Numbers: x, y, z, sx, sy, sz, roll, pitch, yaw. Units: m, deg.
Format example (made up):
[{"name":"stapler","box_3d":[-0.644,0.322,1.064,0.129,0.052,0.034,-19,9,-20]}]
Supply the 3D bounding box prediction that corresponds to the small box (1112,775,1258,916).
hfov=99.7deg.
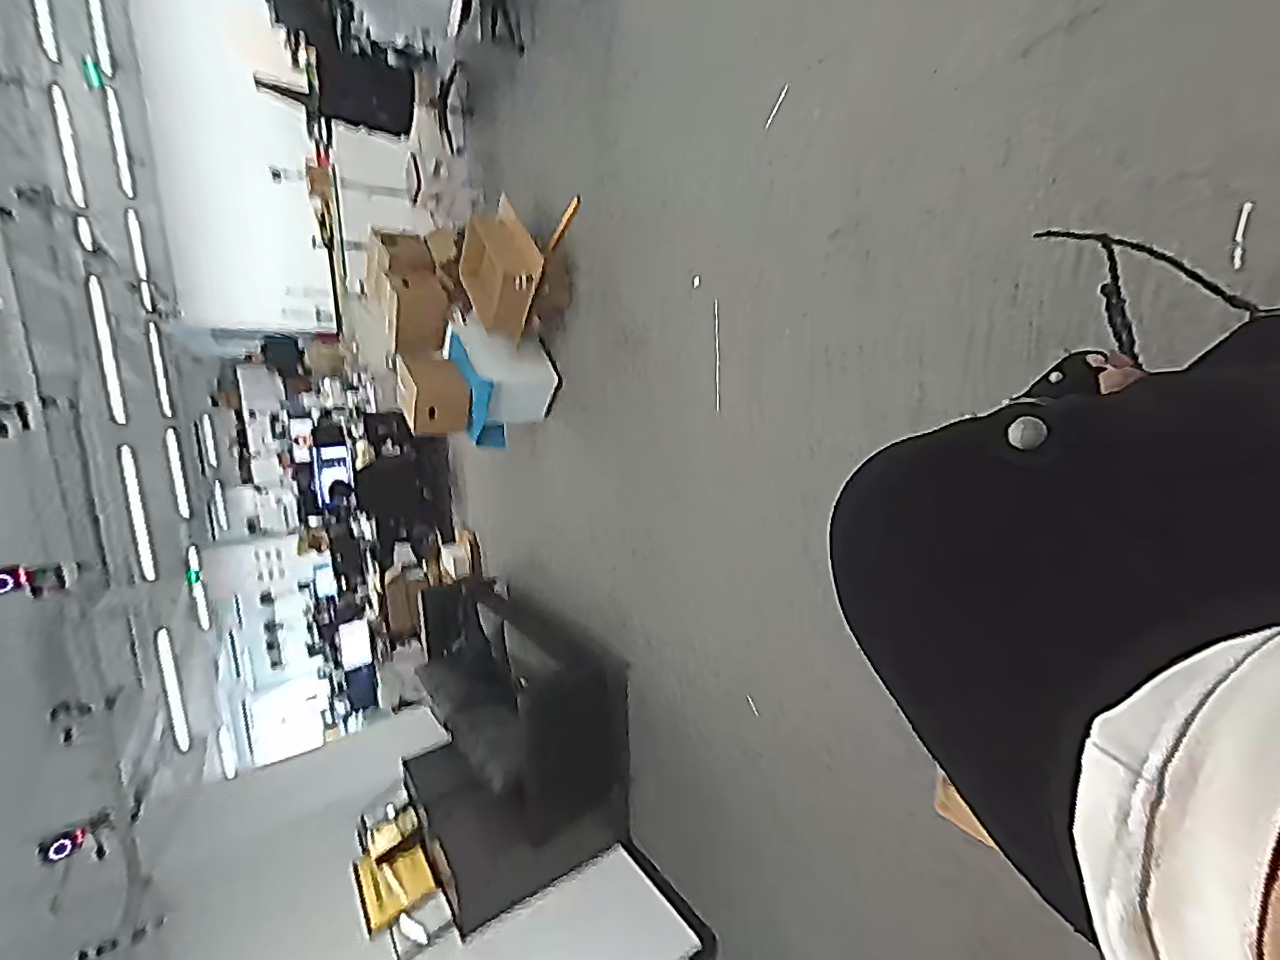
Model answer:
[{"name":"small box","box_3d":[1.228,0.812,1.219,0.168,0.176,0.179,41,130,41]}]
